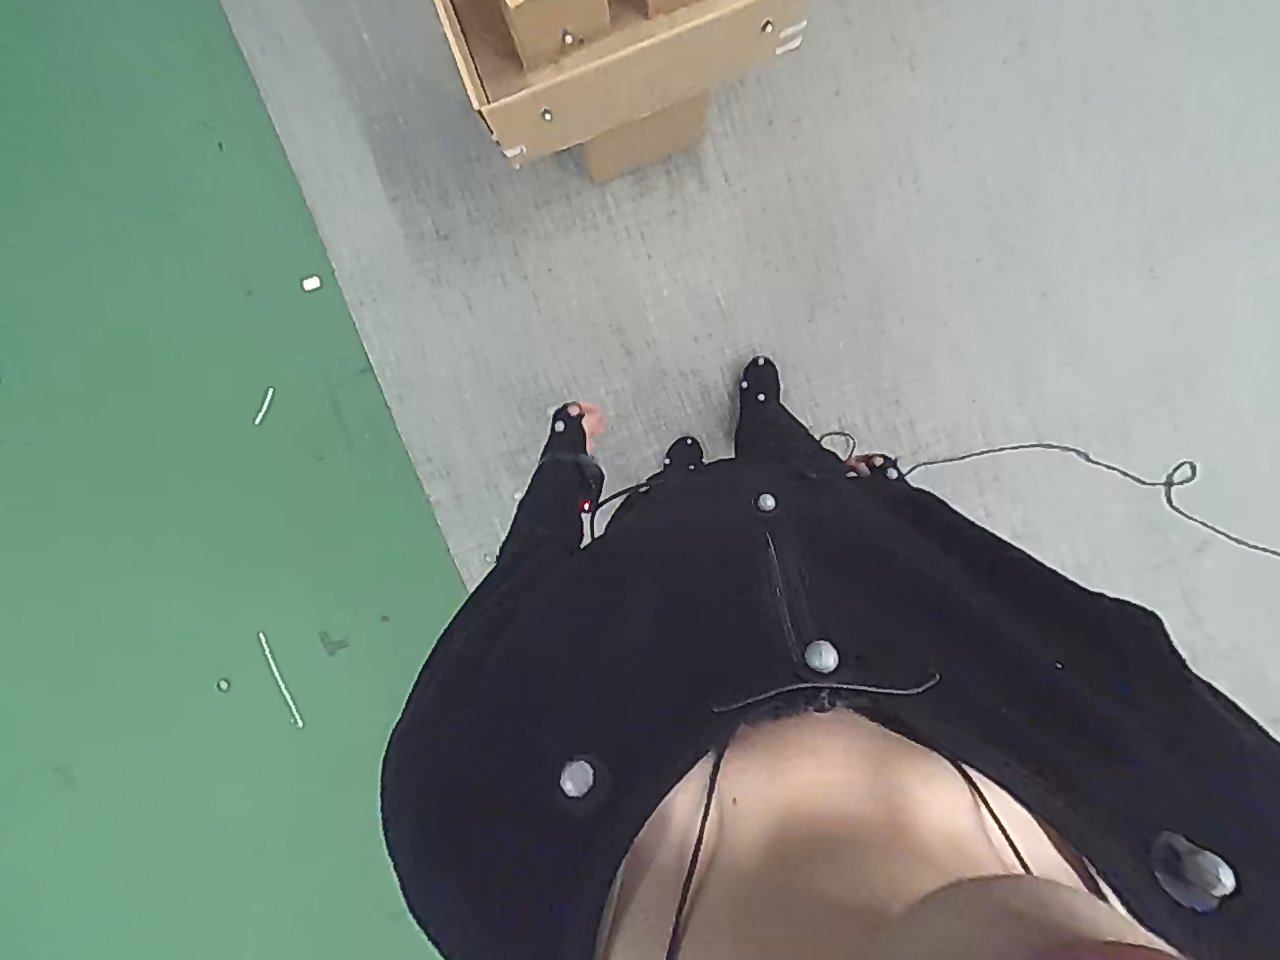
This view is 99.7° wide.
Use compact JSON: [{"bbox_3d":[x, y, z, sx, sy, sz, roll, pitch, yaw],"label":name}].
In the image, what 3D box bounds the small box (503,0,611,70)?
[{"bbox_3d":[-0.161,-0.865,0.923,0.168,0.176,0.179,-23,95,5],"label":"small box"}]
